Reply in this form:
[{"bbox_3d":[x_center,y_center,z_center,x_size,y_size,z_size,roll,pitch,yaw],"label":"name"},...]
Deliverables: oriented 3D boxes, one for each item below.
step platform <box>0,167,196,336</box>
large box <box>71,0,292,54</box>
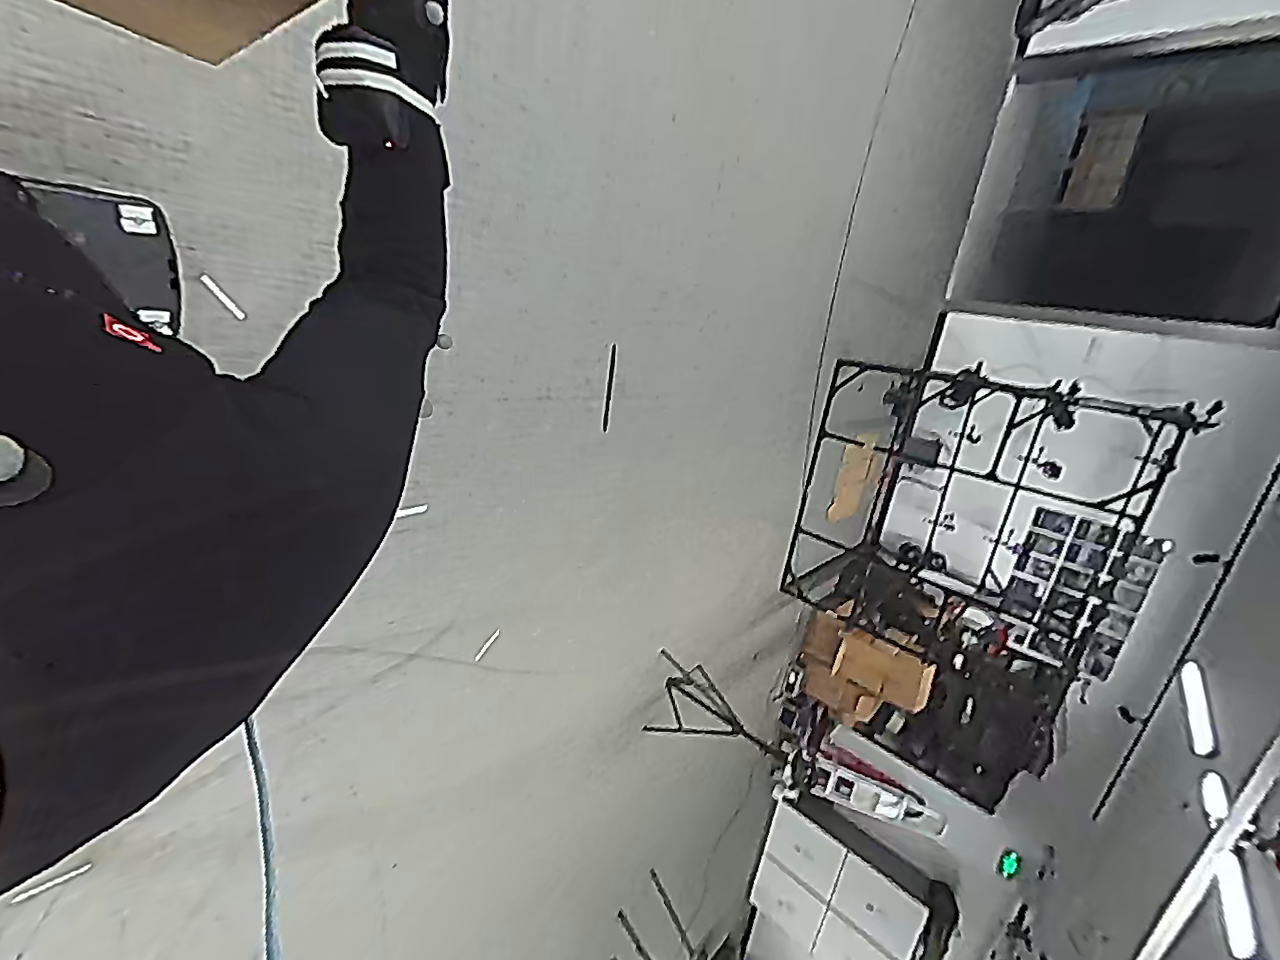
[{"bbox_3d":[-1.222,-0.413,0.949,0.684,0.204,0.286,-14,118,-48],"label":"step platform"},{"bbox_3d":[-0.417,-0.508,0.265,0.408,0.320,0.320,-7,112,-51],"label":"large box"}]
